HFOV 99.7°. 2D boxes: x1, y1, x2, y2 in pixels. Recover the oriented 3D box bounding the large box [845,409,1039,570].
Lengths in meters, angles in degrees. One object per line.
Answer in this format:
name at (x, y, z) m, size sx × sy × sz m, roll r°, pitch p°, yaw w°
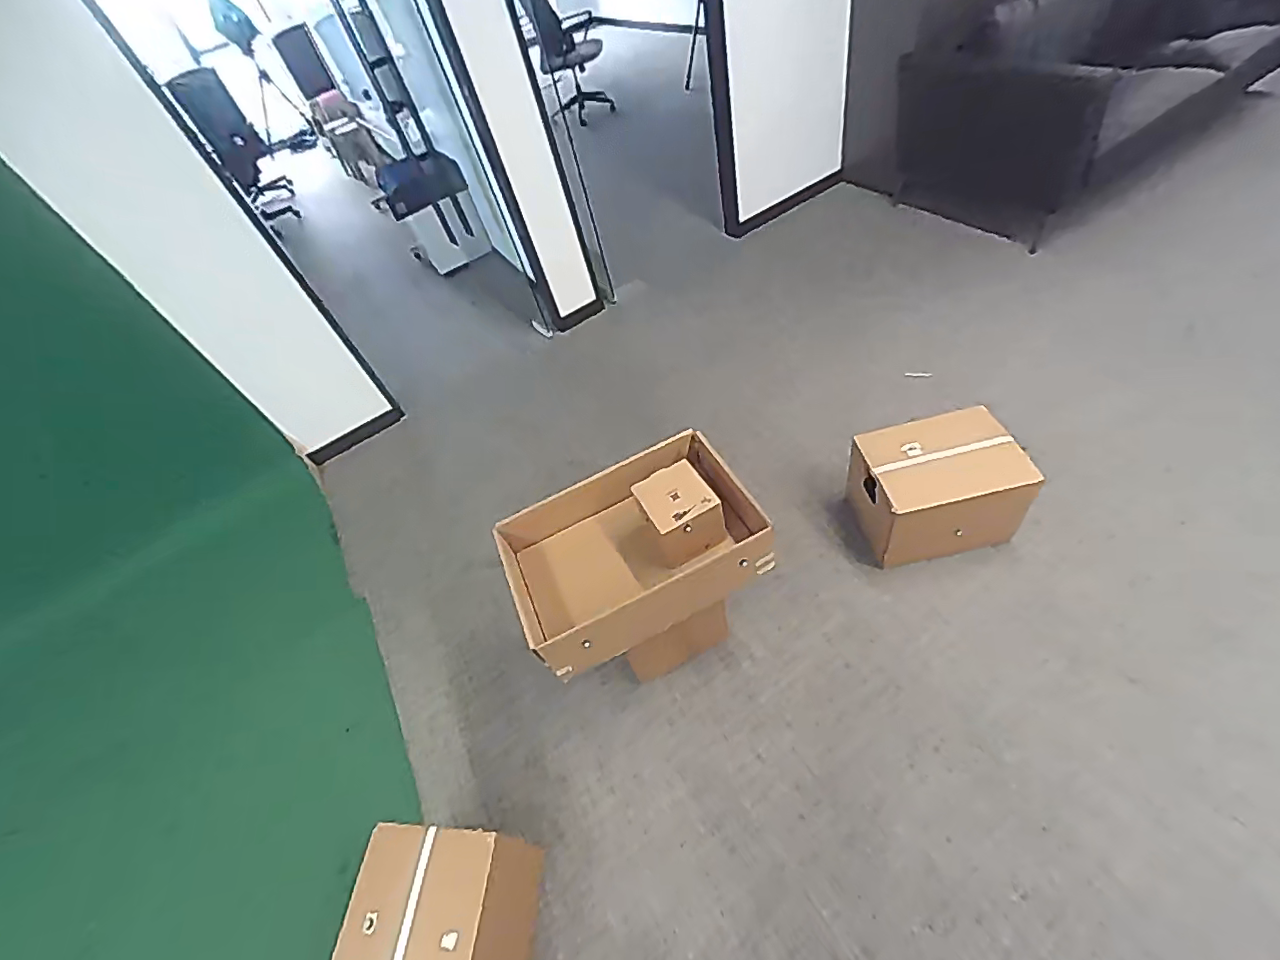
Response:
large box at (0.899, 0.036, 1.675) m, size 0.408 × 0.320 × 0.320 m, roll -14°, pitch 48°, yaw 4°
